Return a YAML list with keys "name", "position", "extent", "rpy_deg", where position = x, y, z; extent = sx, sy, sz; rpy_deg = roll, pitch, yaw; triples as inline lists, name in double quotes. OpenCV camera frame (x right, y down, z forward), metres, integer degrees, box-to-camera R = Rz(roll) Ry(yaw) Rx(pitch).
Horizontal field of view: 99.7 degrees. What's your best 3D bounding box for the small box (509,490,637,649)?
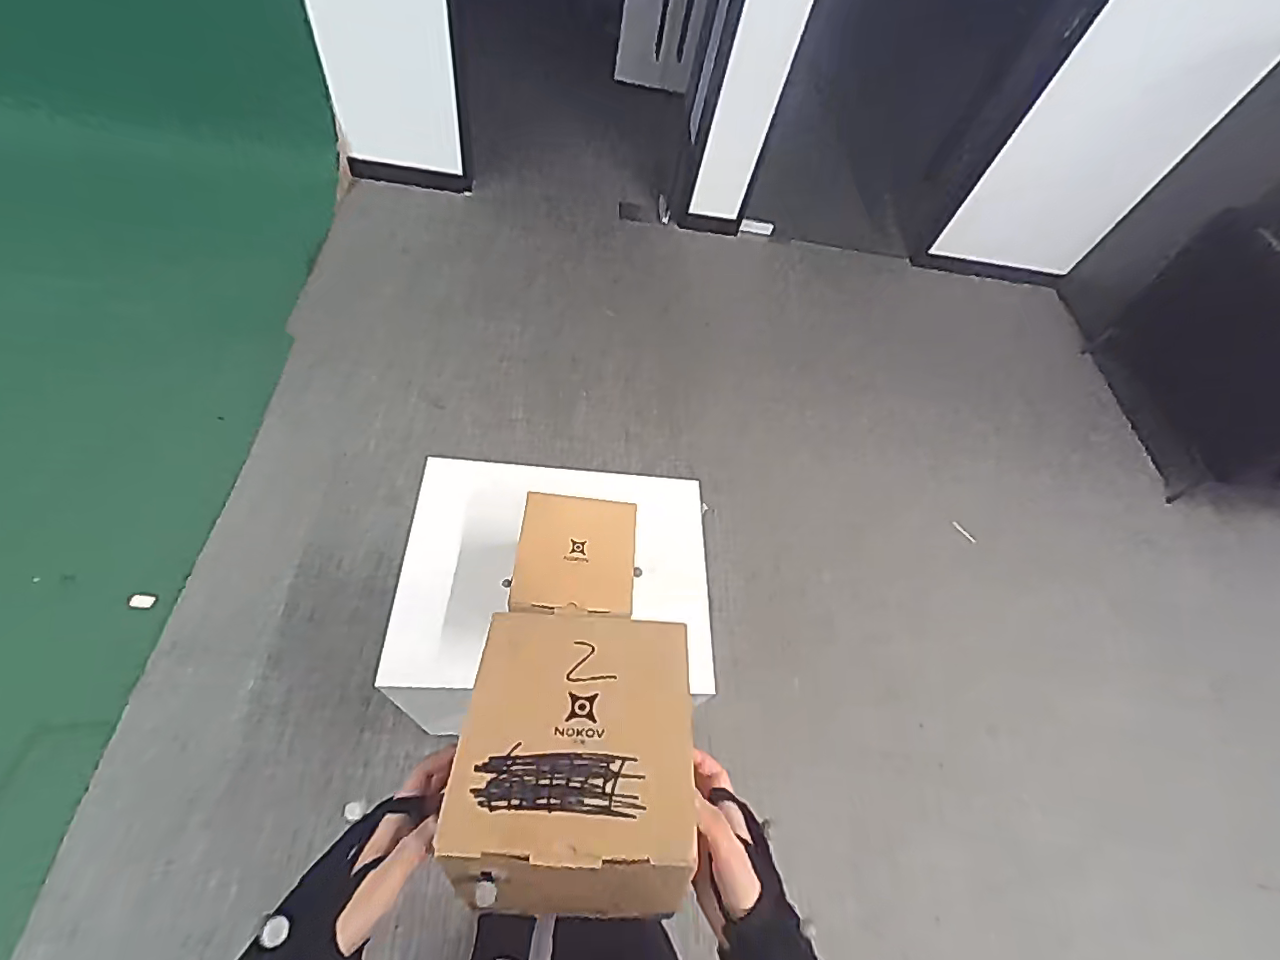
- name: "small box"
  position: [-0.102, 0.139, 0.817]
  extent: [0.168, 0.176, 0.179]
  rpy_deg: [6, 56, -7]
